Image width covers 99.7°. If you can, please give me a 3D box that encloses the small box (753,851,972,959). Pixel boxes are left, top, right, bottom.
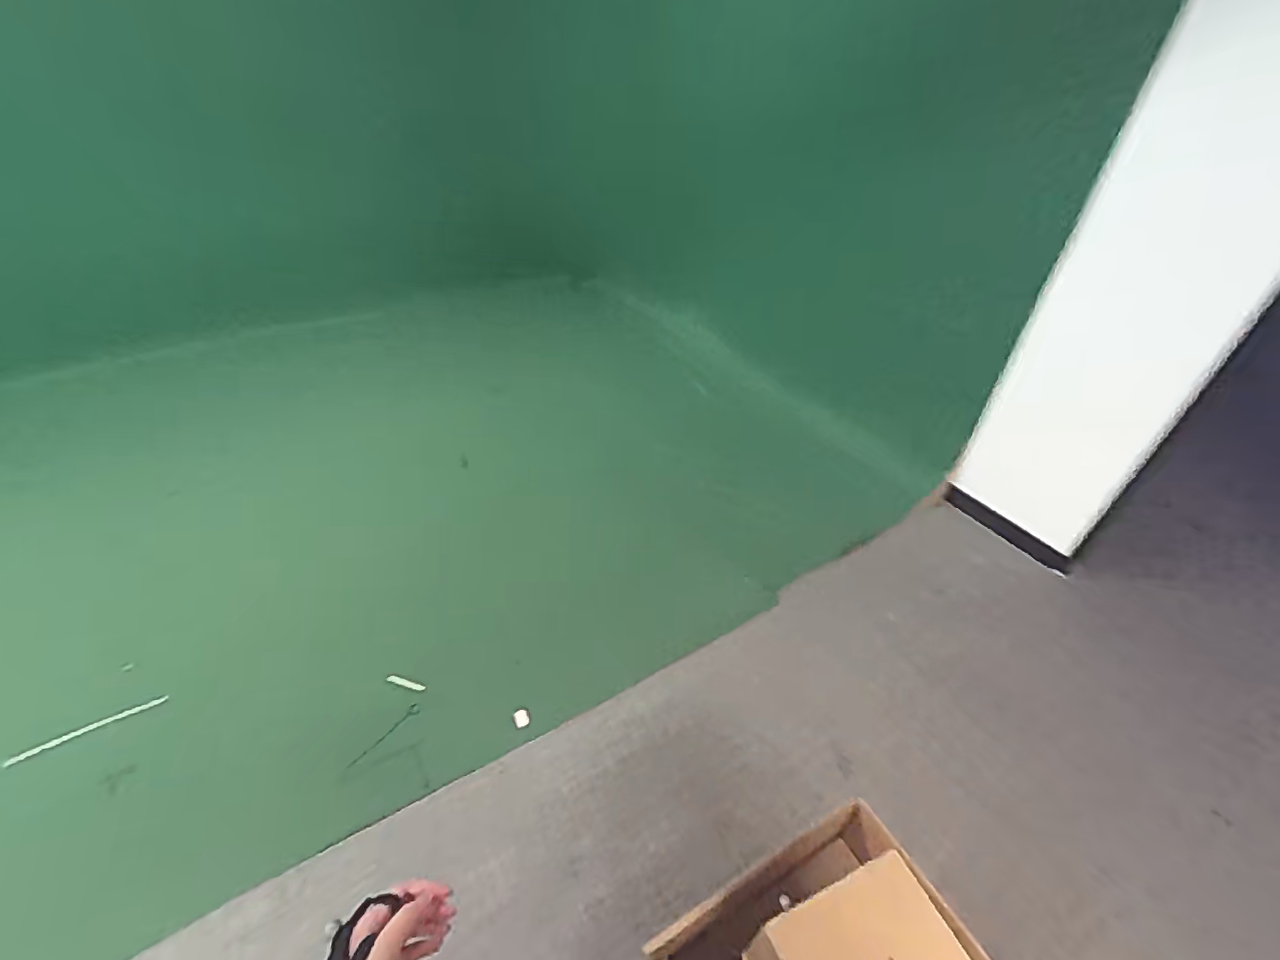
[{"bbox_3d":[0.240,0.542,0.576,0.179,0.176,0.168,-16,44,-17],"label":"small box"}]
